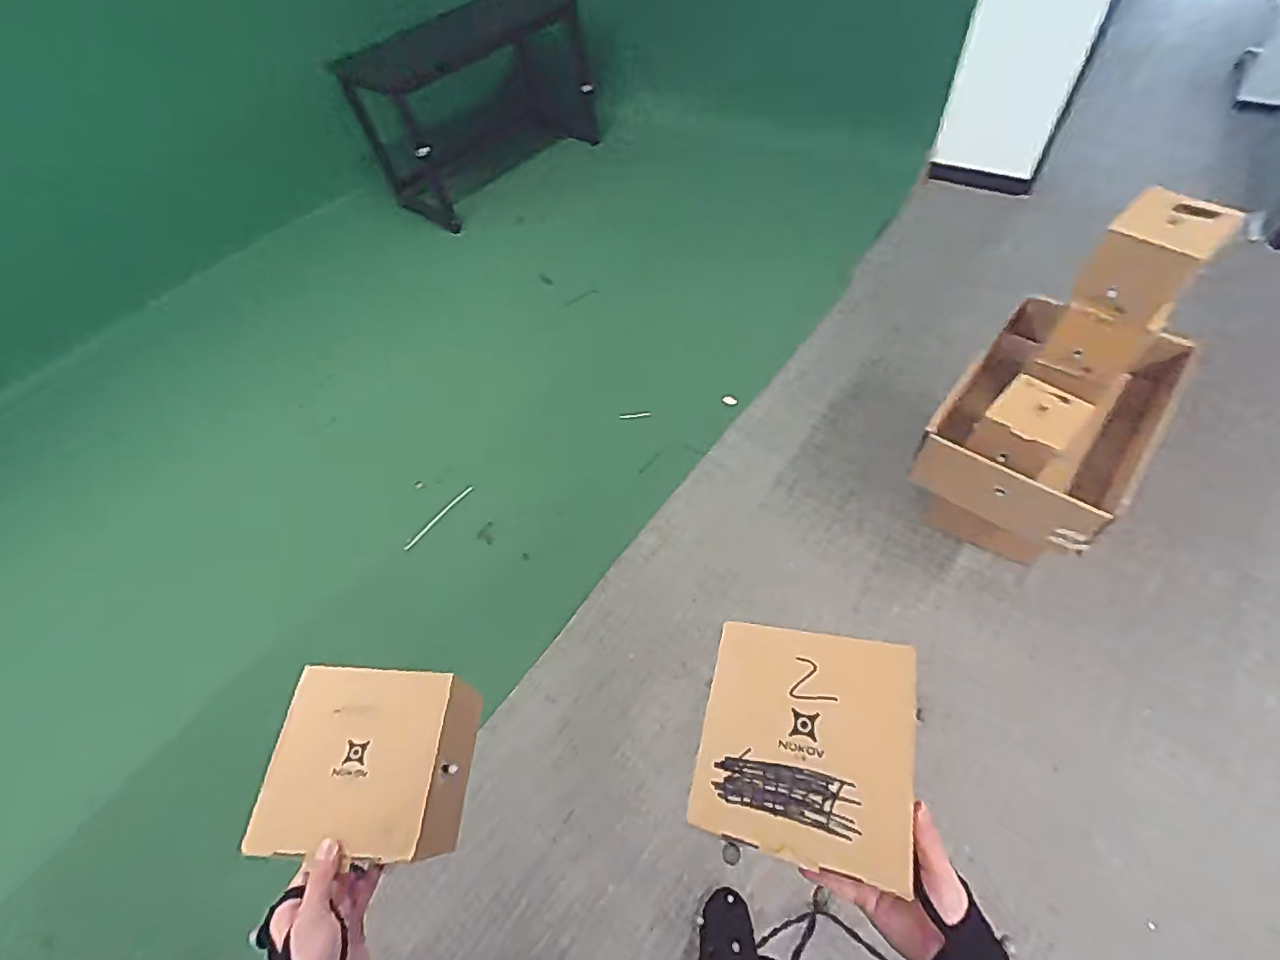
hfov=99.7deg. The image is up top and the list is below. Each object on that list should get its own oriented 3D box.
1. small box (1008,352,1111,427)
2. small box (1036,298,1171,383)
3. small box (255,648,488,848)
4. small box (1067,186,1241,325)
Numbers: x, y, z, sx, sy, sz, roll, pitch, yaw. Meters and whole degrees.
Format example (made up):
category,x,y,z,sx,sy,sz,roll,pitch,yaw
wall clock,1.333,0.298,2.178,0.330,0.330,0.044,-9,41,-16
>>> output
category,x,y,z,sx,sy,sz,roll,pitch,yaw
small box,1.070,-0.268,1.360,0.168,0.176,0.179,32,67,27
small box,1.046,-0.356,1.226,0.168,0.176,0.179,32,67,26
small box,-0.286,0.310,0.628,0.168,0.176,0.179,5,59,0
small box,1.023,-0.452,1.094,0.179,0.176,0.168,-39,59,-15
